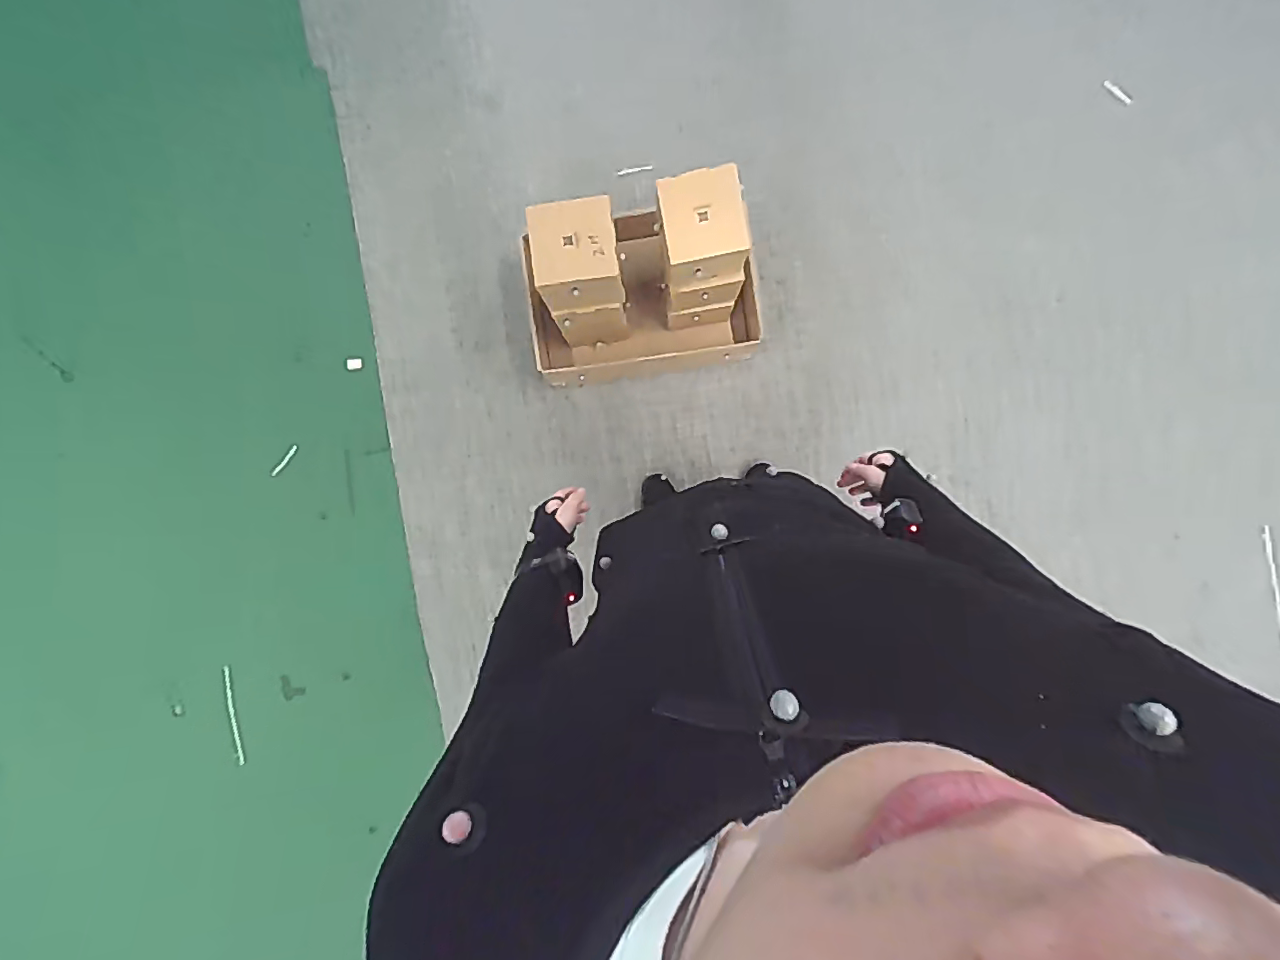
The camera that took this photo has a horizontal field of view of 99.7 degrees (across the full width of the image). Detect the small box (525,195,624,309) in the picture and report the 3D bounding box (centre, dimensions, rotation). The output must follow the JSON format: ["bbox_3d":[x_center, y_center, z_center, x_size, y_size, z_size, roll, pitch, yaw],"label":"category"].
[{"bbox_3d":[-0.134,-0.480,1.166,0.179,0.176,0.168,-7,90,2],"label":"small box"}]

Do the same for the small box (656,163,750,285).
[{"bbox_3d":[0.133,-0.535,1.160,0.168,0.176,0.179,-11,91,4],"label":"small box"}]

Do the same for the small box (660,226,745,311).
[{"bbox_3d":[0.149,-0.526,1.321,0.179,0.176,0.168,-10,92,3],"label":"small box"}]
